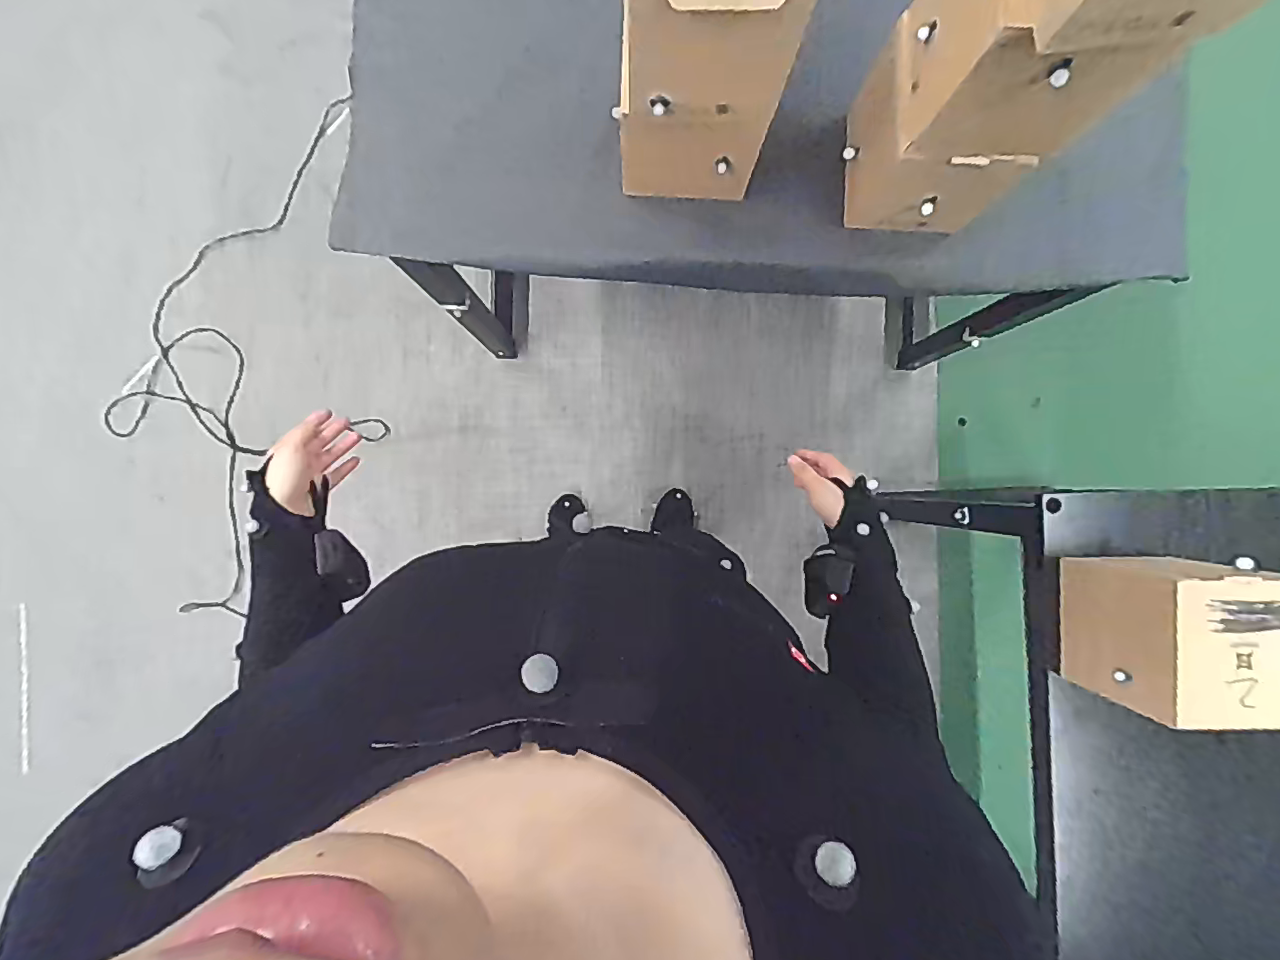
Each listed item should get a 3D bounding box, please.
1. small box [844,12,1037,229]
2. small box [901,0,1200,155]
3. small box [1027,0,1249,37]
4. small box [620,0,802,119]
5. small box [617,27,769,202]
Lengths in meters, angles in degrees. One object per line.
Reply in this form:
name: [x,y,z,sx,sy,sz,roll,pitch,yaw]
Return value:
small box: [0.376,-0.447,0.699,0.168,0.176,0.179,2,88,0]
small box: [0.386,-0.453,0.536,0.179,0.176,0.168,0,88,1]
small box: [0.394,-0.451,0.371,0.168,0.176,0.179,-8,88,0]
small box: [0.063,-0.493,0.536,0.168,0.176,0.179,-2,86,-1]
small box: [0.063,-0.484,0.700,0.179,0.176,0.168,2,87,1]
